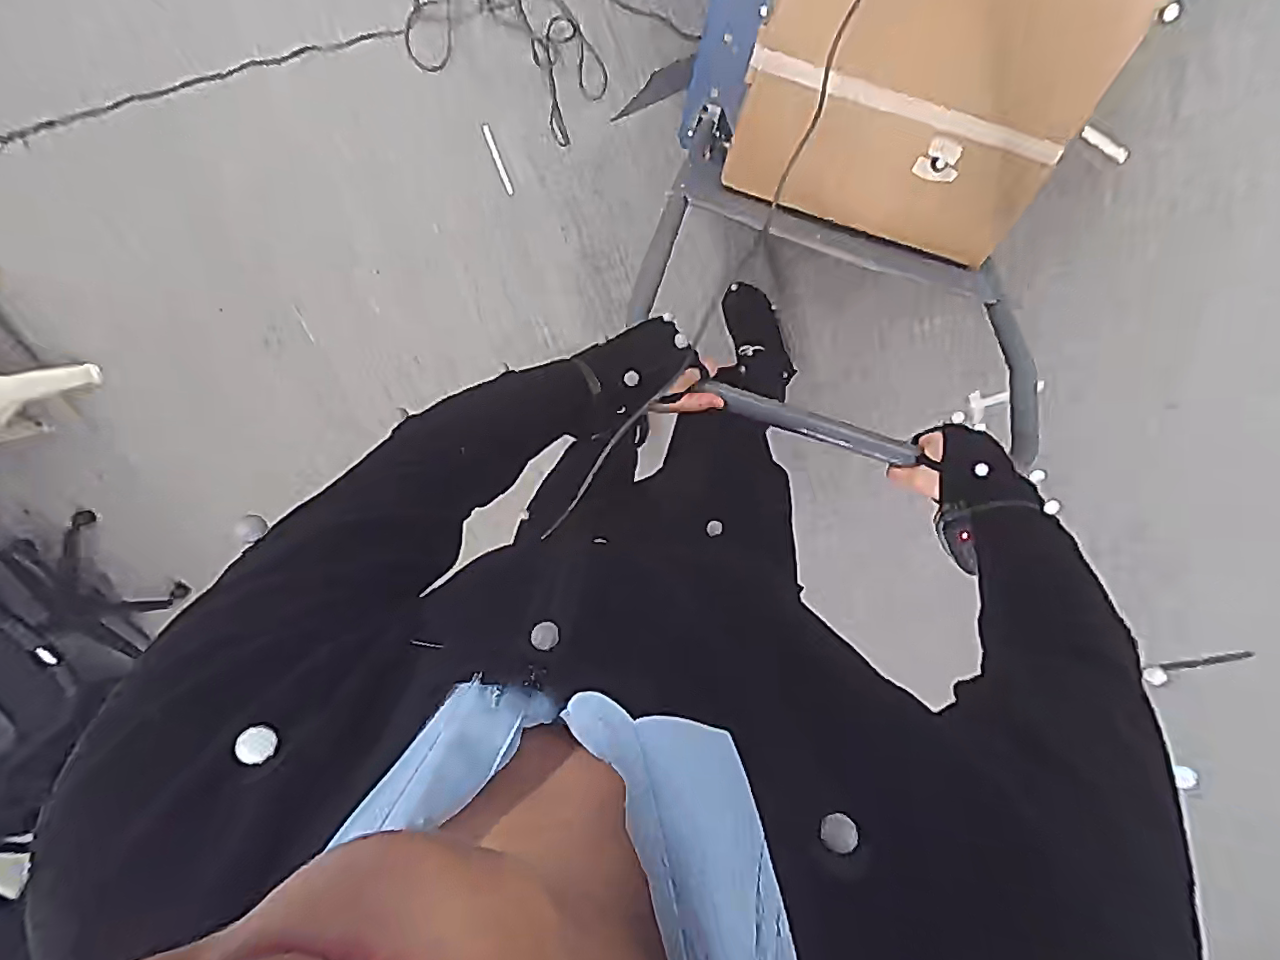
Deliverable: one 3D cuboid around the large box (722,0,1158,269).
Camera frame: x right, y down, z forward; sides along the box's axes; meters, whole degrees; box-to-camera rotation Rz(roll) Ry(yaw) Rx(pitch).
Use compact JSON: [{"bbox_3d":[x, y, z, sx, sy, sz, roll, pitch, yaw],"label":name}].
[{"bbox_3d":[0.364,-0.569,0.787,0.408,0.320,0.320,17,137,-3],"label":"large box"}]
